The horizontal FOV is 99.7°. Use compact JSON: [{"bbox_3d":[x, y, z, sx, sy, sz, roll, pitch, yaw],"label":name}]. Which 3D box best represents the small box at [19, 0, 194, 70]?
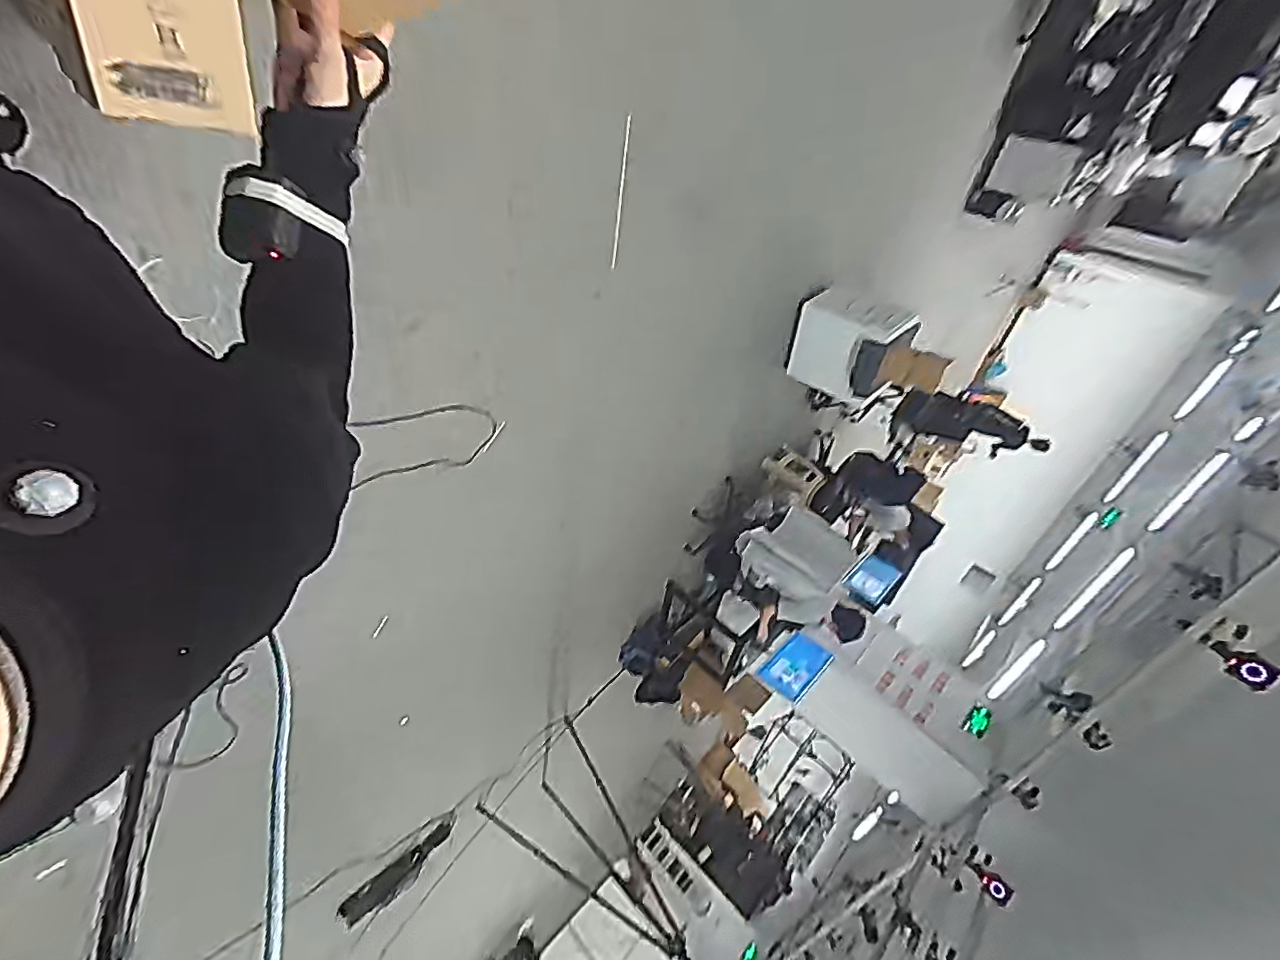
[{"bbox_3d":[-0.859,-0.766,0.851,0.179,0.176,0.168,-28,141,-37],"label":"small box"}]
